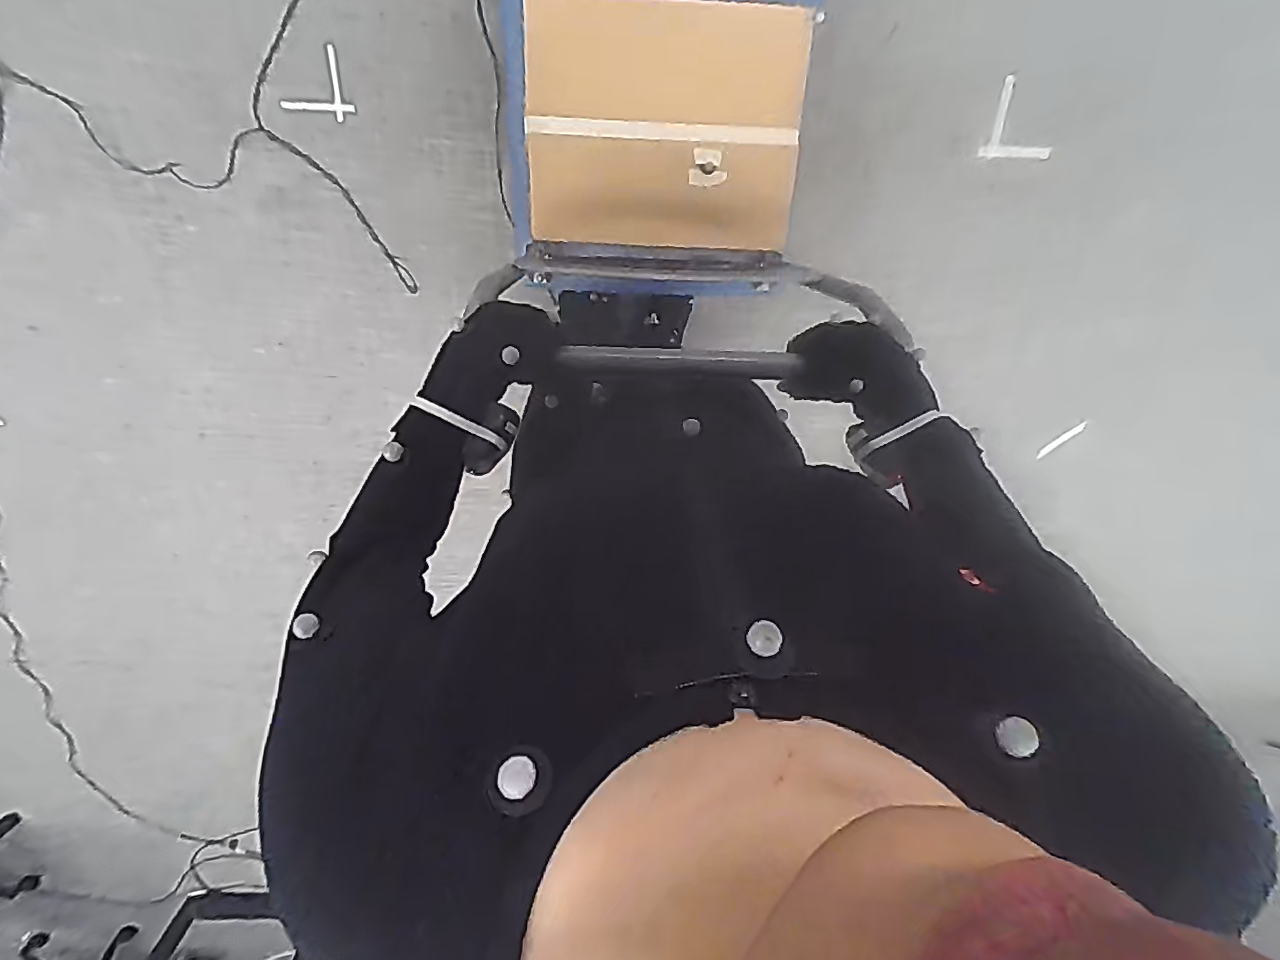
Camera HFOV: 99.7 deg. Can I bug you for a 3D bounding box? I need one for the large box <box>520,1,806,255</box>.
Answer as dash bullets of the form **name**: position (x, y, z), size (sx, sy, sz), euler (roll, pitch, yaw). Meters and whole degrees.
- **large box**: position (0.021, -0.562, 0.936), size (0.408, 0.320, 0.320), euler (0, 114, -4)
